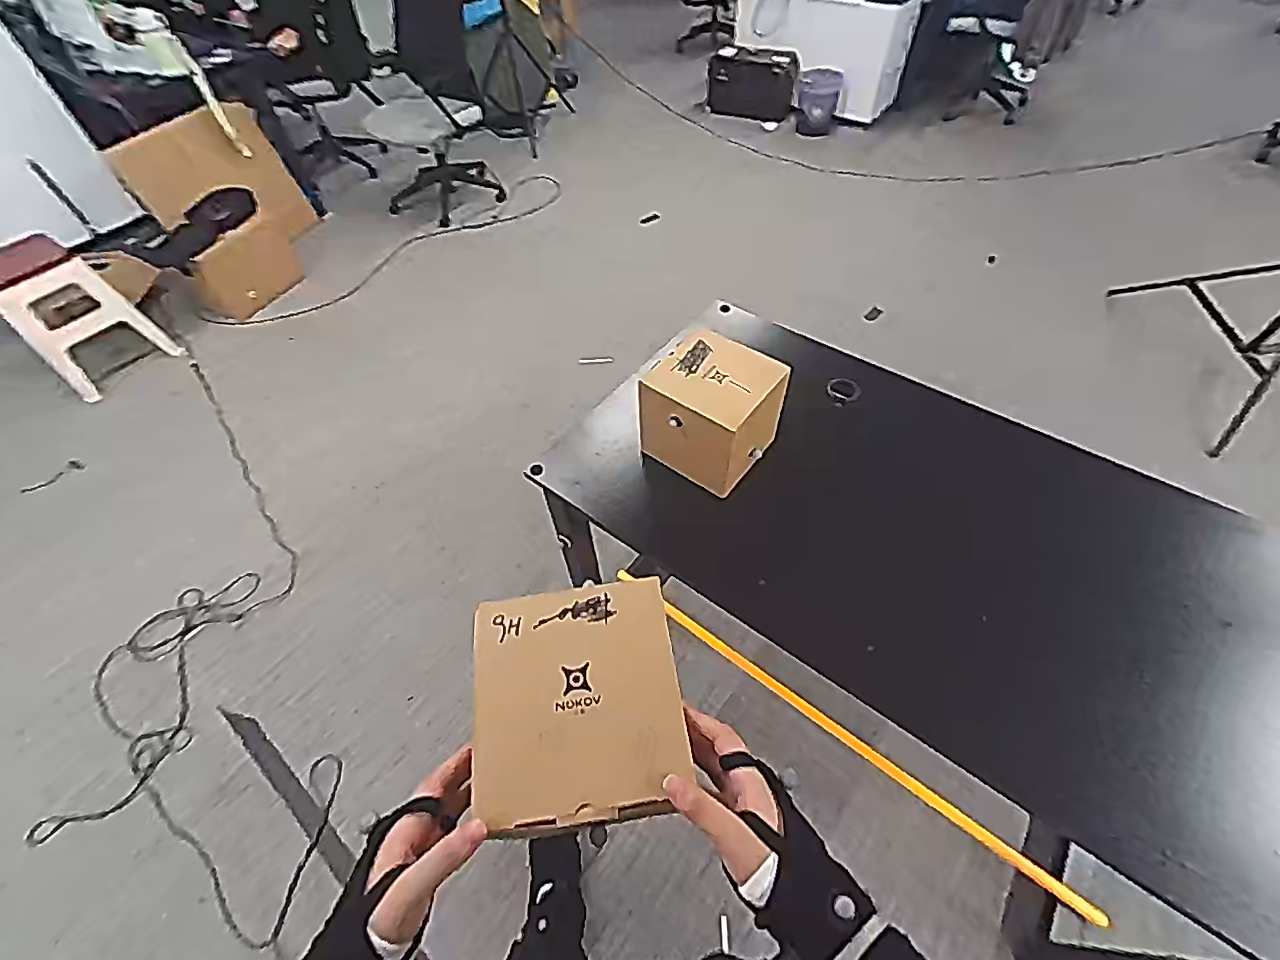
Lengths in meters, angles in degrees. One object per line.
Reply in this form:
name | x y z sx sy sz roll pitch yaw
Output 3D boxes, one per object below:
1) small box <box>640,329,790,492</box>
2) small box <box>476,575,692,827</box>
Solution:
small box | 0.117 -0.111 0.891 0.179 0.176 0.168 32 61 22
small box | -0.048 0.210 0.509 0.168 0.176 0.179 -8 58 -4
